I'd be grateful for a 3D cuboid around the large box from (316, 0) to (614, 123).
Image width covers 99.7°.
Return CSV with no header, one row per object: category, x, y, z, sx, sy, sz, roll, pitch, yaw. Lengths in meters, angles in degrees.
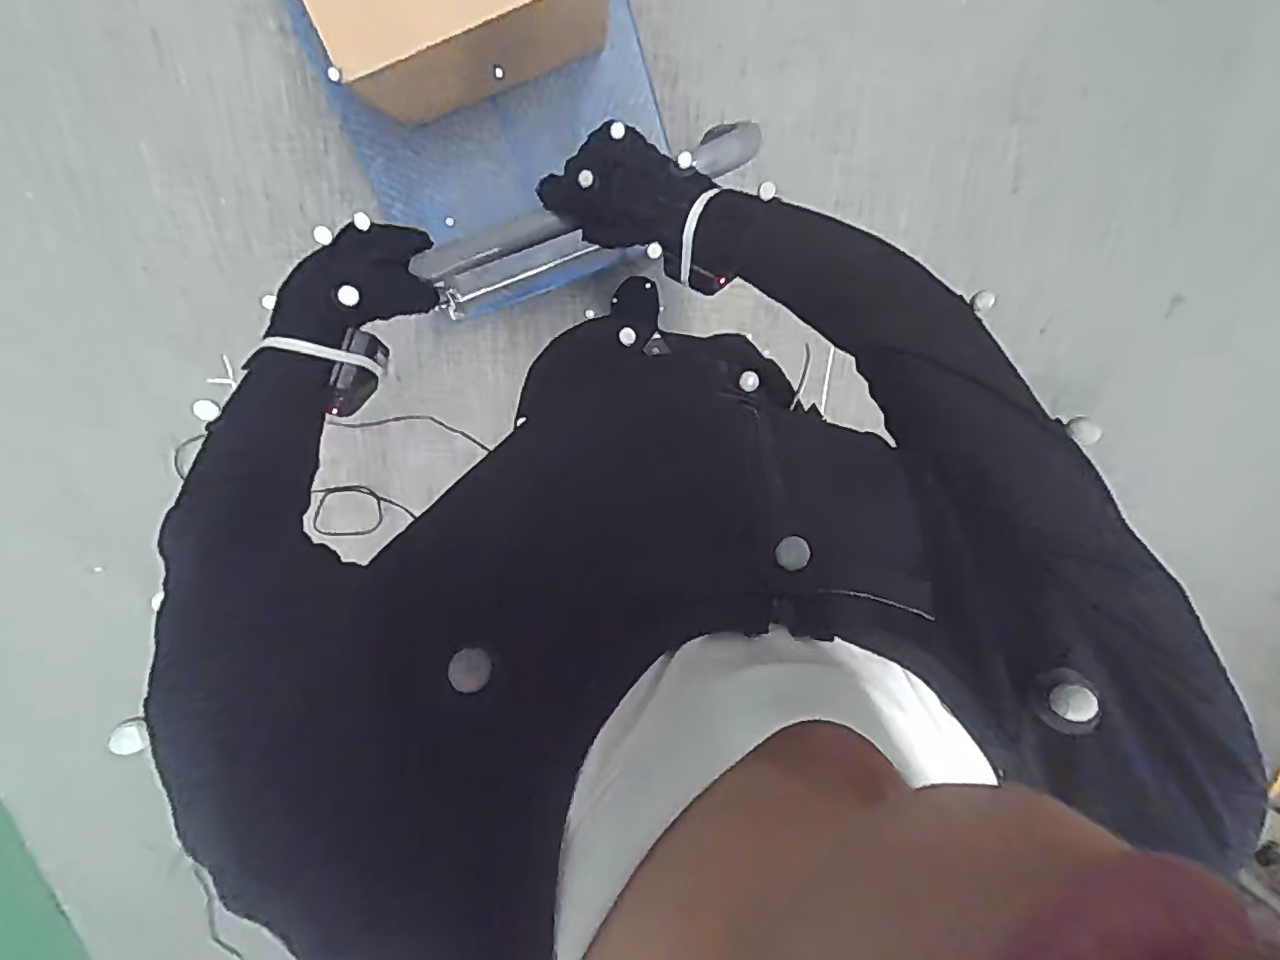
large box,-0.279,-0.816,0.821,0.408,0.320,0.320,-21,113,4
